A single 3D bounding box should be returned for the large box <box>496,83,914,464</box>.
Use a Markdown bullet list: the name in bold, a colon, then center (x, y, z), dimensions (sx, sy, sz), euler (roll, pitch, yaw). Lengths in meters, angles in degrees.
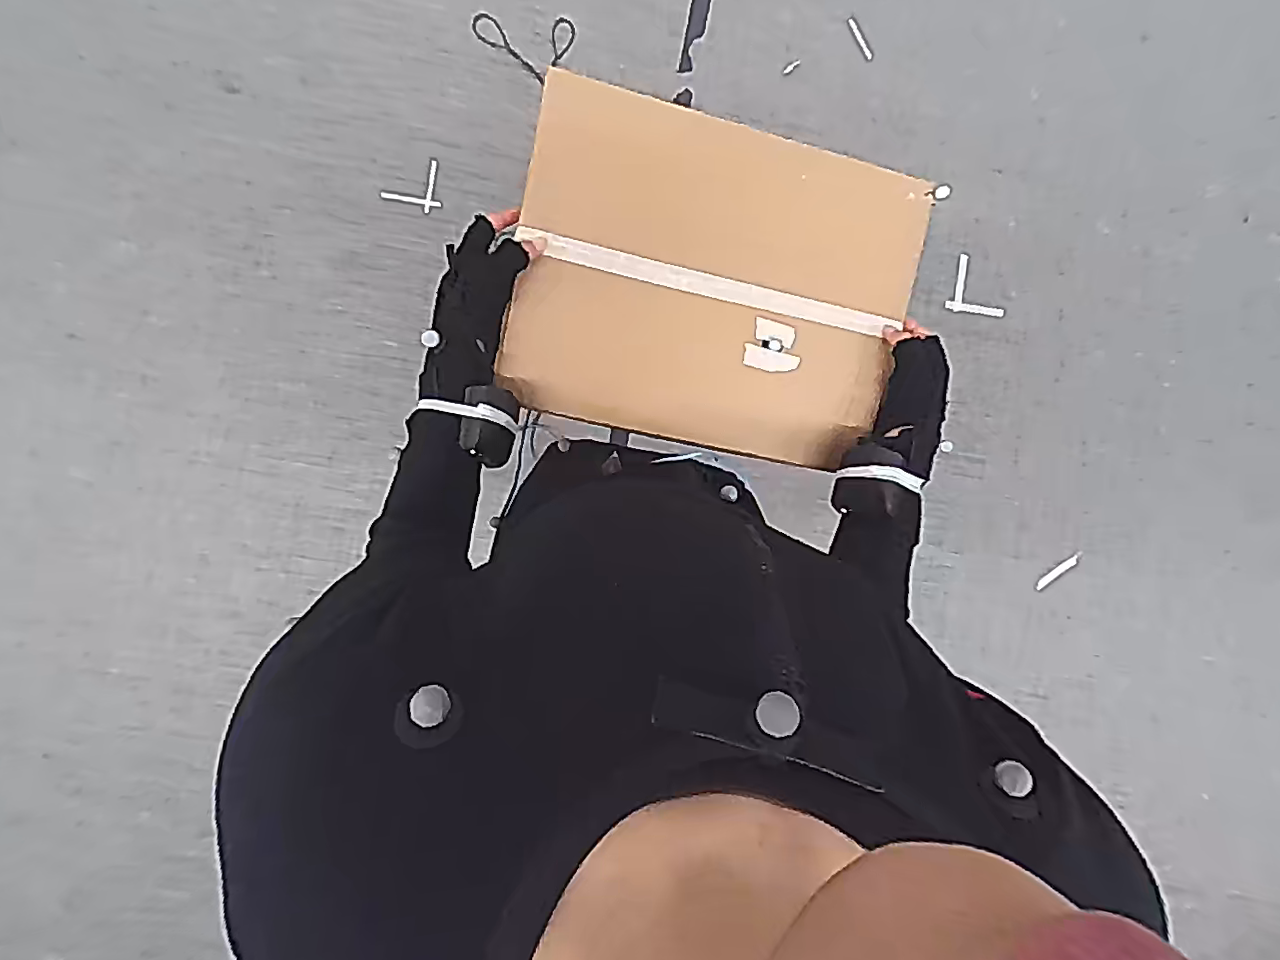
- **large box**: center (0.052, -0.217, 0.706), dimensions (0.408, 0.320, 0.320), euler (11, 96, -9)
